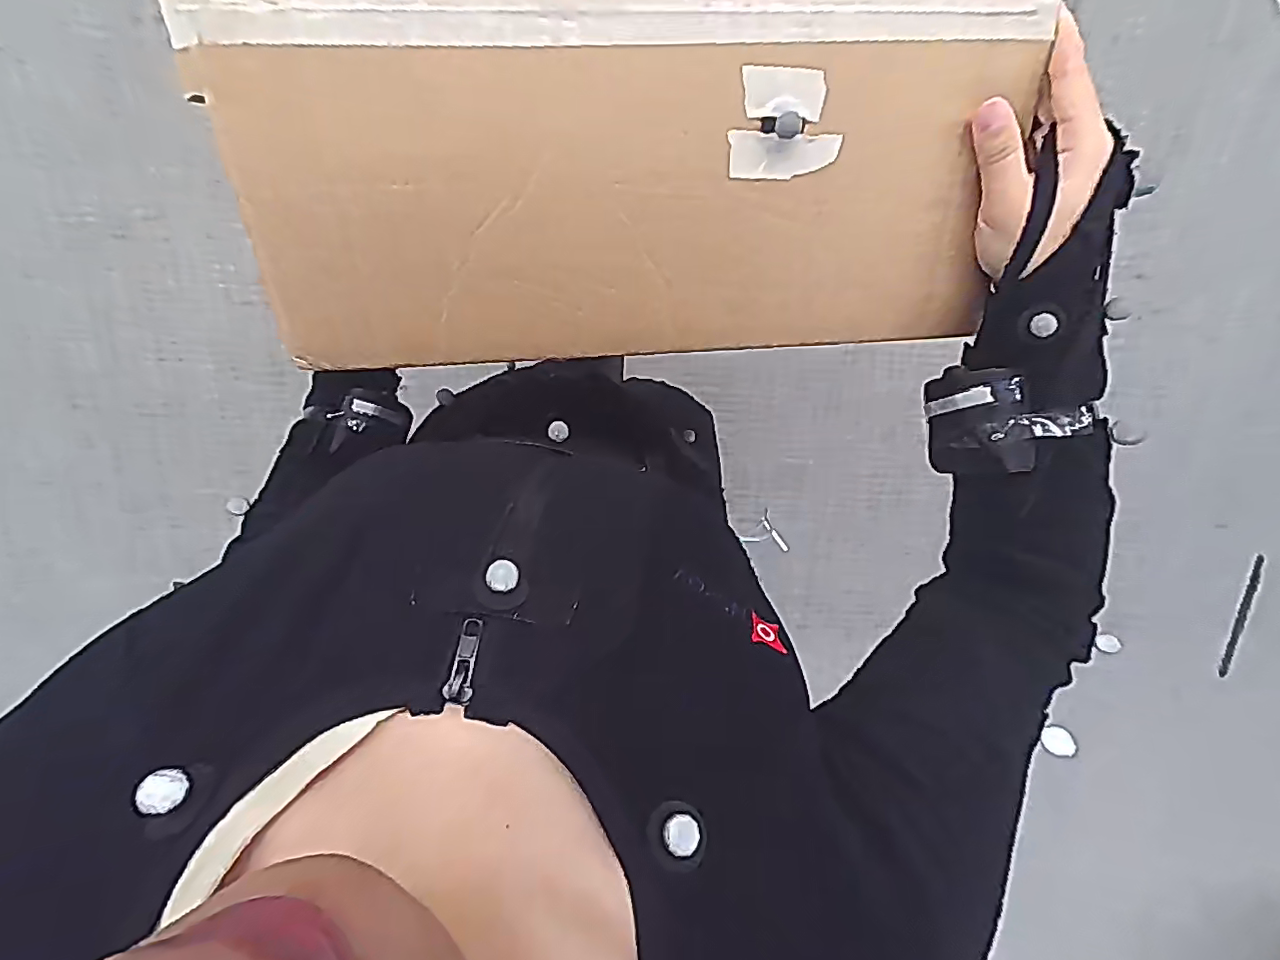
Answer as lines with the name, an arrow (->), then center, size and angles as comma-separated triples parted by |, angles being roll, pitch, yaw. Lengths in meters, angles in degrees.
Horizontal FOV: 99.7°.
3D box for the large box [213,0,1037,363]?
large box -> -0.014, -0.287, 0.392 | 0.408, 0.320, 0.320 | -5, 117, -6
